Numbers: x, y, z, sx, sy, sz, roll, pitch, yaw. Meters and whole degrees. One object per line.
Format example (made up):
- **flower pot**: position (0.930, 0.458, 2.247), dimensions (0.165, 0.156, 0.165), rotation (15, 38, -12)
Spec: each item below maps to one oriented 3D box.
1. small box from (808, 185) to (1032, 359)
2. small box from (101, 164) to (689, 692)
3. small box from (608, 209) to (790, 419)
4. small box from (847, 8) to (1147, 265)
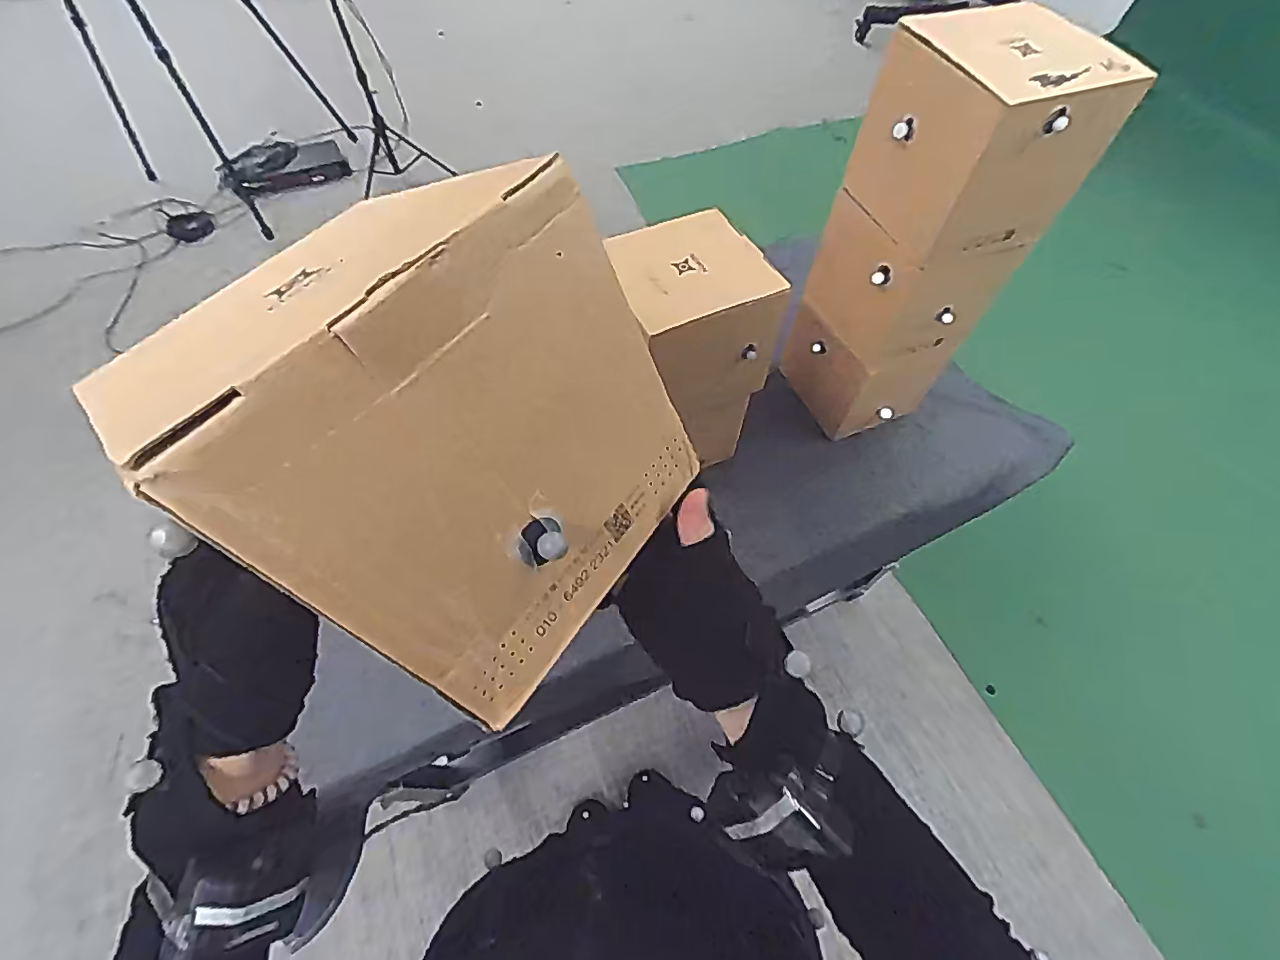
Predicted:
- **small box**: position (0.356, -0.284, 0.727), dimensions (0.168, 0.176, 0.179), rotation (-18, 61, -11)
- **small box**: position (-0.104, -0.025, 0.274), dimensions (0.179, 0.176, 0.168), rotation (17, 57, 39)
- **small box**: position (0.052, -0.196, 0.673), dimensions (0.179, 0.176, 0.168), rotation (-23, 61, -13)
- **small box**: position (0.357, -0.367, 0.585), dimensions (0.168, 0.176, 0.179), rotation (-17, 60, -10)
